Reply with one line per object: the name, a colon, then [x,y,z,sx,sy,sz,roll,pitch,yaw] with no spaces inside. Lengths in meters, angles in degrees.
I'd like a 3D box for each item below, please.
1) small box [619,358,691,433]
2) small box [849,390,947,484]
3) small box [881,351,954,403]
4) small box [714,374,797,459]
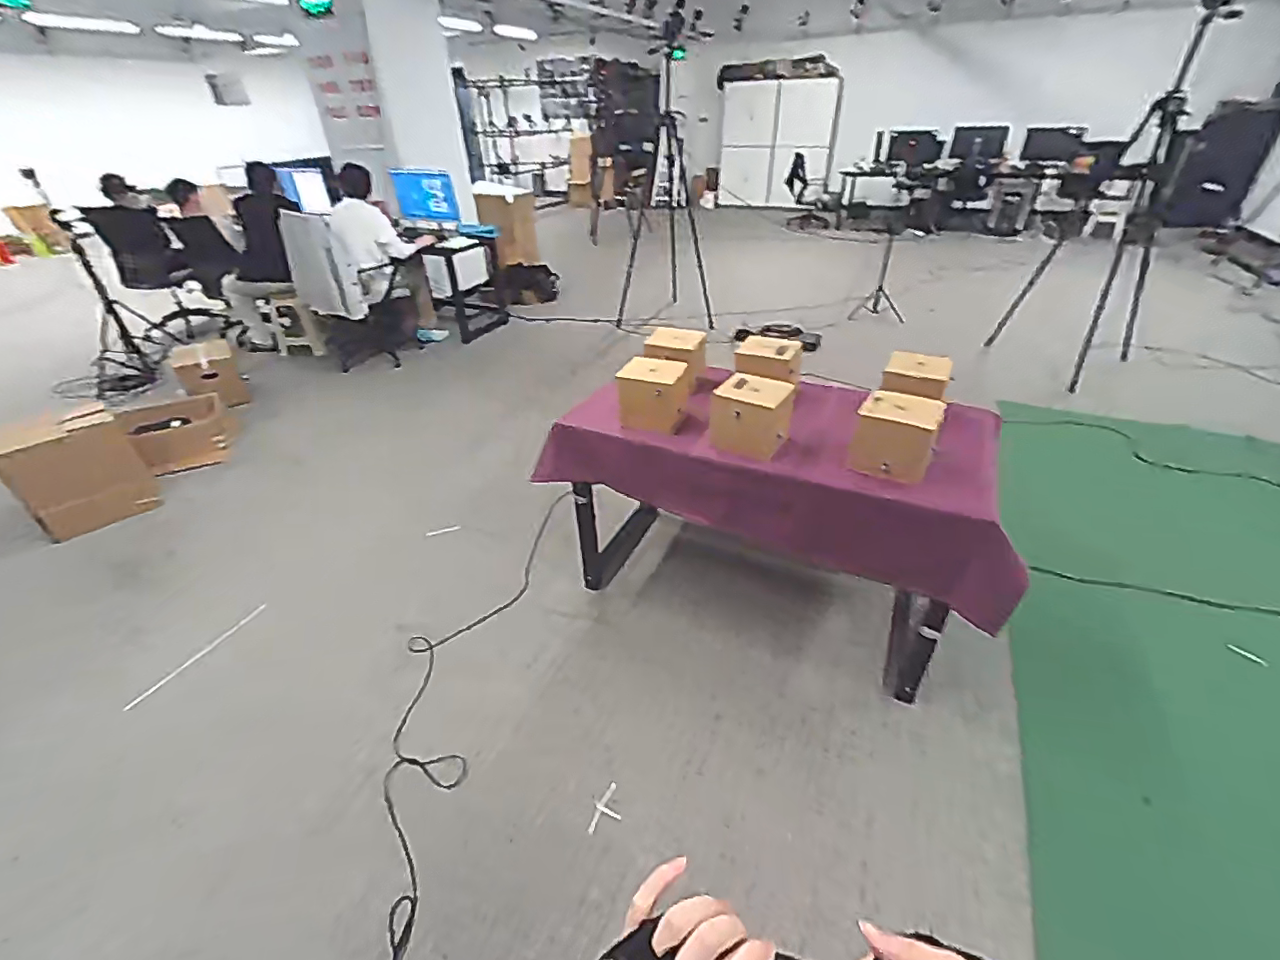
small box: [0.046,-0.257,1.650,0.179,0.176,0.168,12,36,17]
small box: [0.664,-0.109,1.398,0.179,0.176,0.168,20,39,28]
small box: [0.820,-0.267,1.620,0.168,0.176,0.179,17,39,26]
small box: [0.319,-0.178,1.517,0.179,0.176,0.168,19,40,27]
